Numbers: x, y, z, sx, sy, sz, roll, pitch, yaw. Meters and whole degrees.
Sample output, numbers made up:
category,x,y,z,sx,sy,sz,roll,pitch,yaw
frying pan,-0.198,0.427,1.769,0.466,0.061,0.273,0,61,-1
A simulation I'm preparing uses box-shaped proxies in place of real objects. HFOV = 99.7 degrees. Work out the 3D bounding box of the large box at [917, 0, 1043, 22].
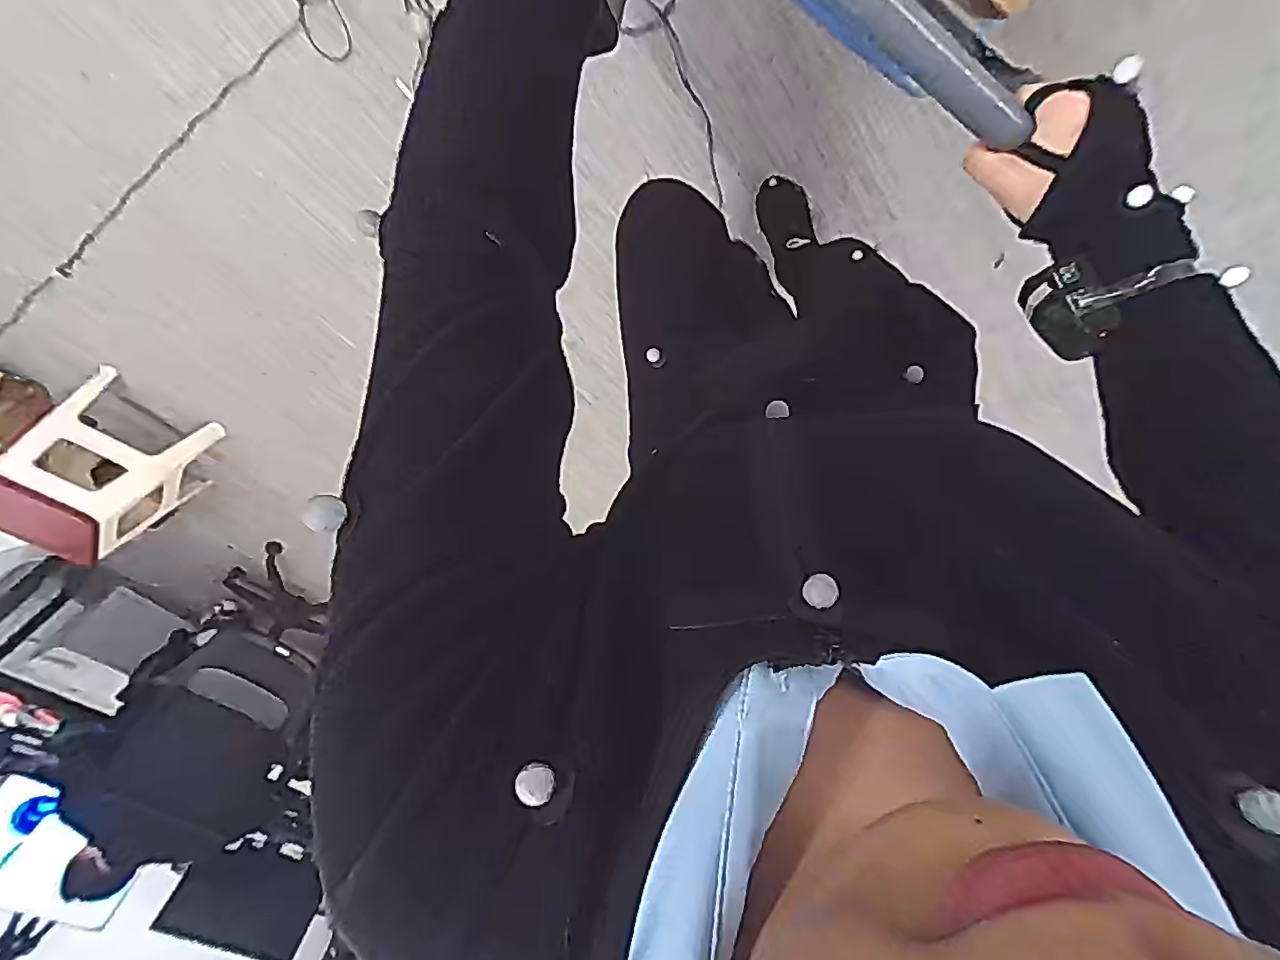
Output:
category,x,y,z,sx,sy,sz,roll,pitch,yaw
large box,0.350,-0.790,0.576,0.408,0.320,0.320,27,130,-16
